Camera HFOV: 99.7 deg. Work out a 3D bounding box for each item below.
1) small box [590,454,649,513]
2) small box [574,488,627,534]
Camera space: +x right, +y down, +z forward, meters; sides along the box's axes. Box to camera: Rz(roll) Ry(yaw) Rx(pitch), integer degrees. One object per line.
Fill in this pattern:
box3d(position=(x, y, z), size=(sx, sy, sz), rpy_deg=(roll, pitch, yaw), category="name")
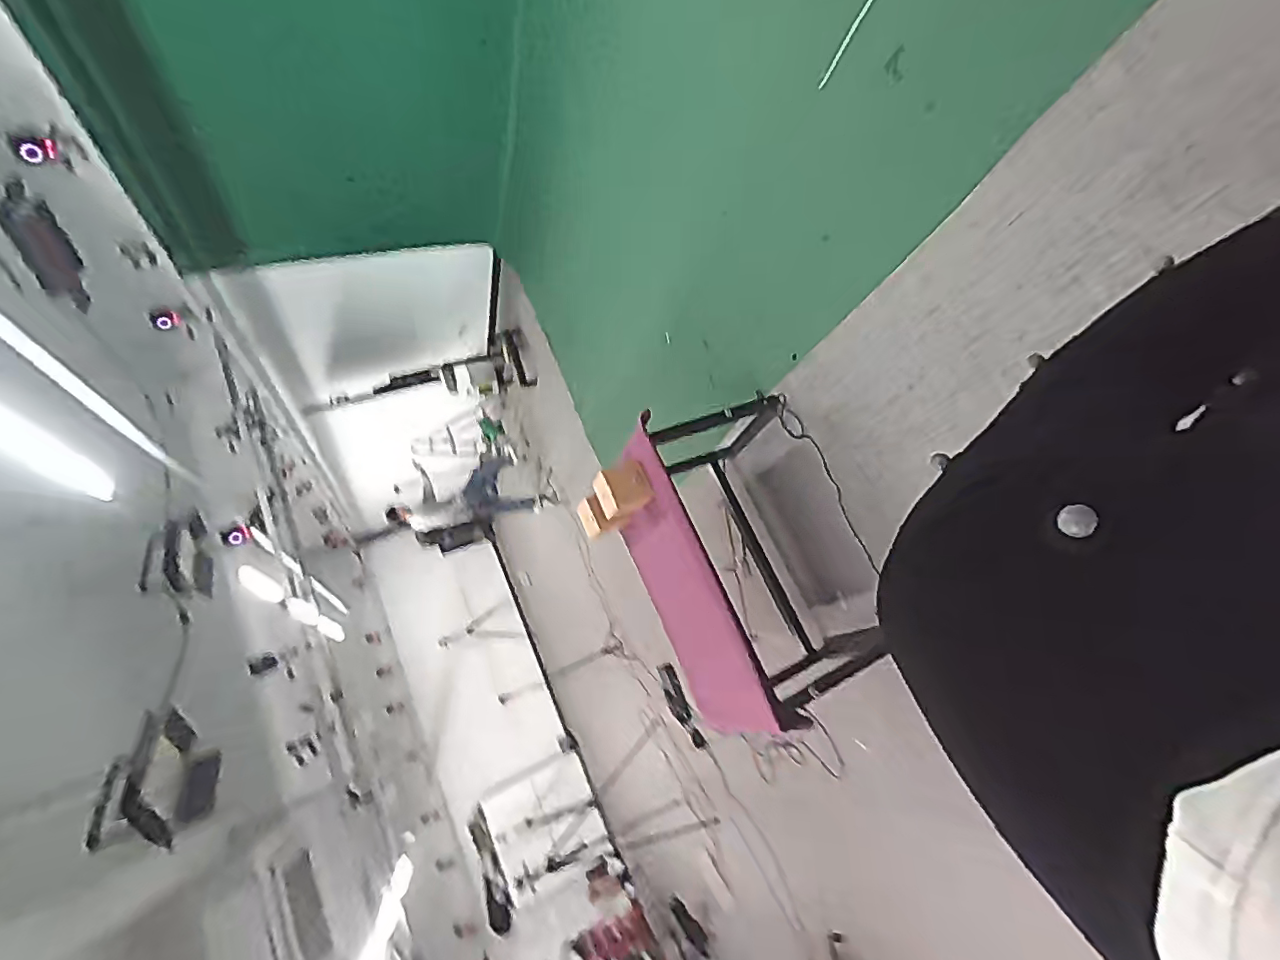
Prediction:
box3d(position=(-0.082, 0.015, 2.213), size=(0.168, 0.176, 0.179), rpy_deg=(65, 156, 11), category="small box")
box3d(position=(-0.181, 0.128, 2.498), size=(0.168, 0.176, 0.179), rpy_deg=(64, 153, 12), category="small box")
